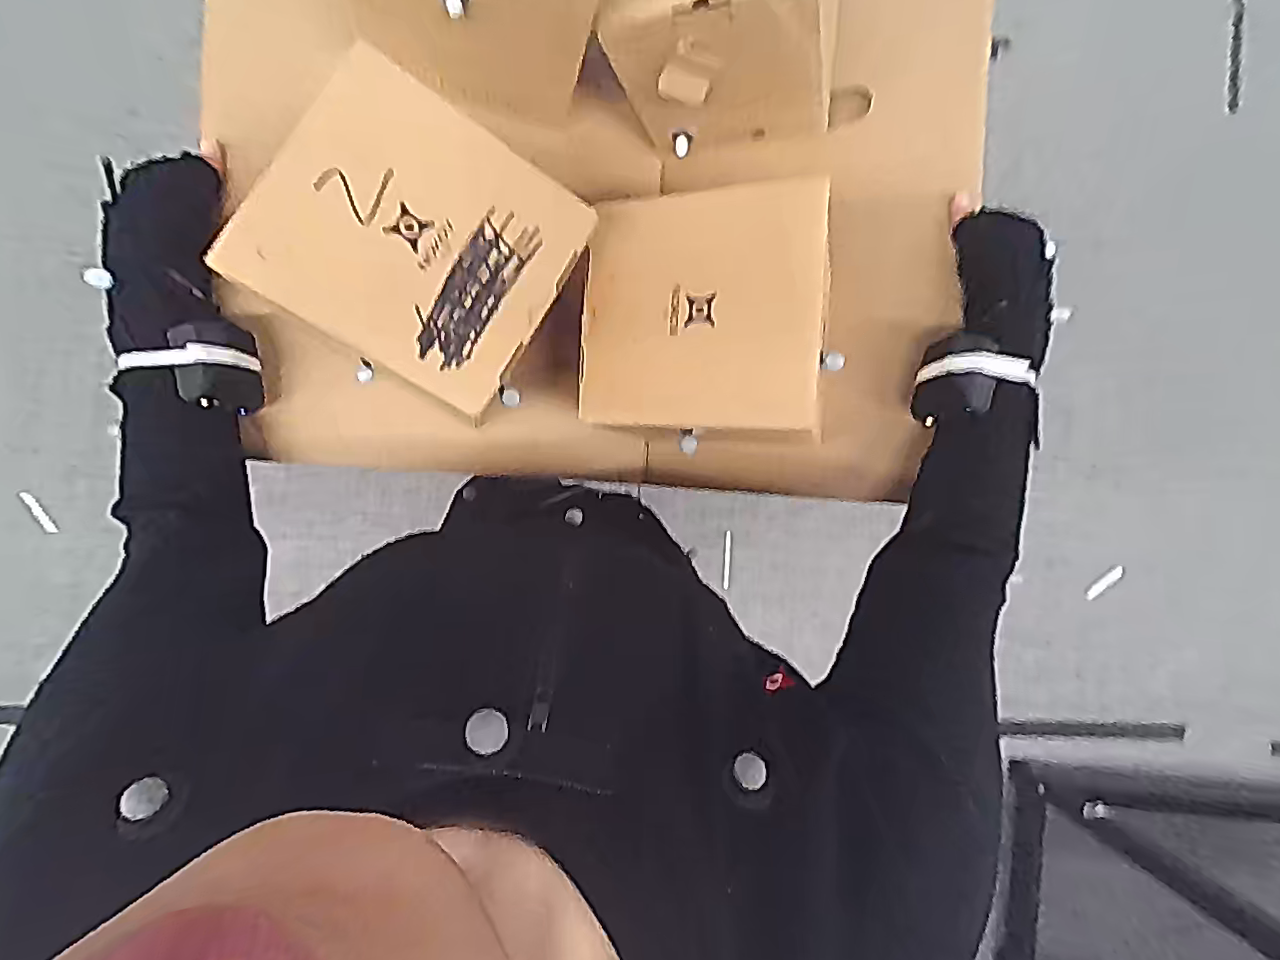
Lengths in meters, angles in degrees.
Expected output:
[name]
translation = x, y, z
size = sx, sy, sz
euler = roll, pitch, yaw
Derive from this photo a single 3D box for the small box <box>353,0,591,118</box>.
[small box]
translation = -0.126, -0.426, 0.420
size = 0.179, 0.176, 0.168
euler = 6, 91, -18
